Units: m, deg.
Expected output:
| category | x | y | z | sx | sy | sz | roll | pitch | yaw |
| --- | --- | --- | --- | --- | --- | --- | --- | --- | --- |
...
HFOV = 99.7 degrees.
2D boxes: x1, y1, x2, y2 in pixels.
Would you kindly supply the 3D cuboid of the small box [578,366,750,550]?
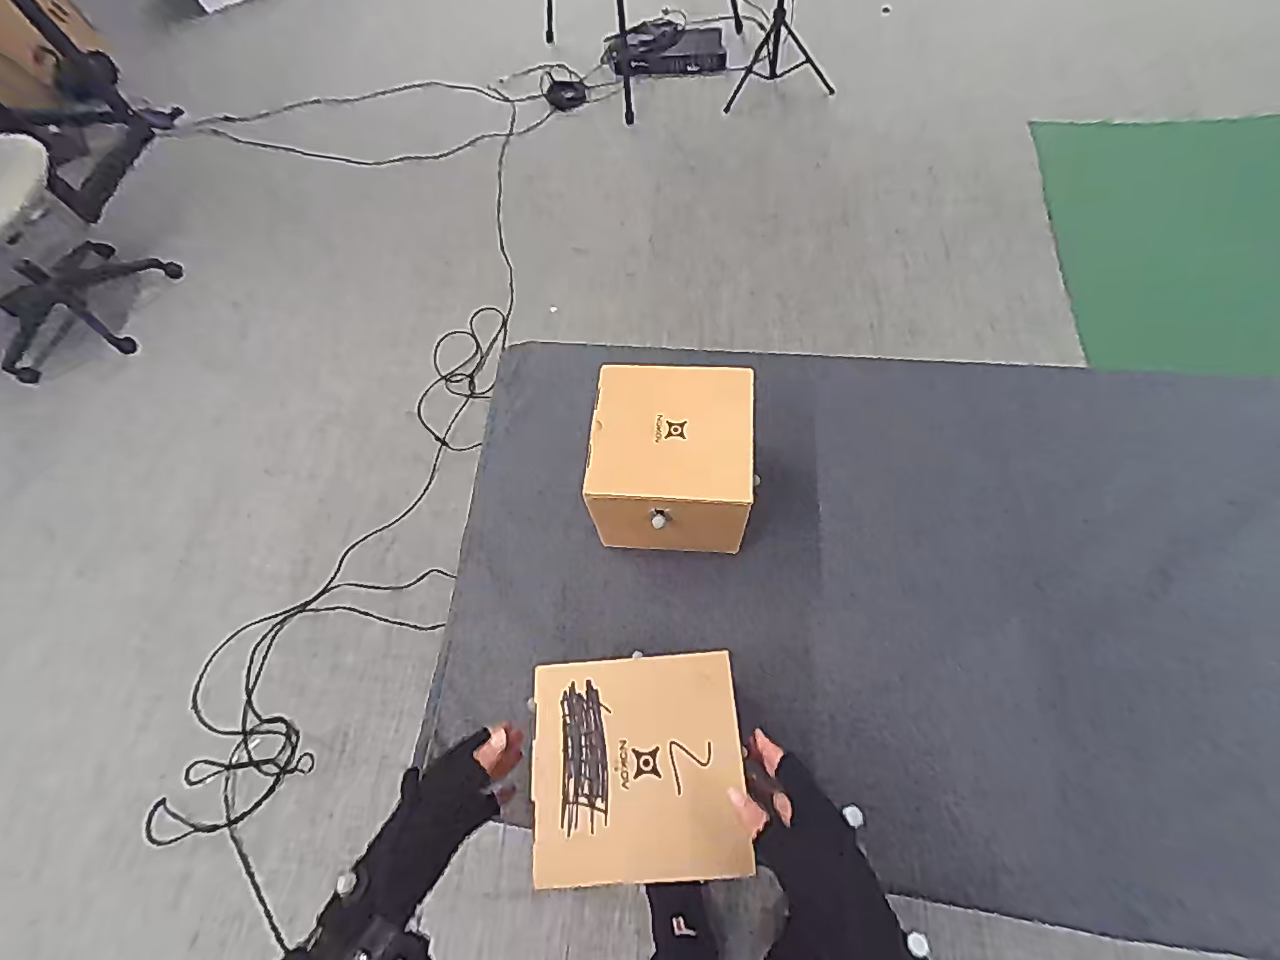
| category | x | y | z | sx | sy | sz | roll | pitch | yaw |
| --- | --- | --- | --- | --- | --- | --- | --- | --- | --- |
| small box | 0.036 | -0.019 | 0.650 | 0.179 | 0.176 | 0.168 | 2 | 65 | 7 |
